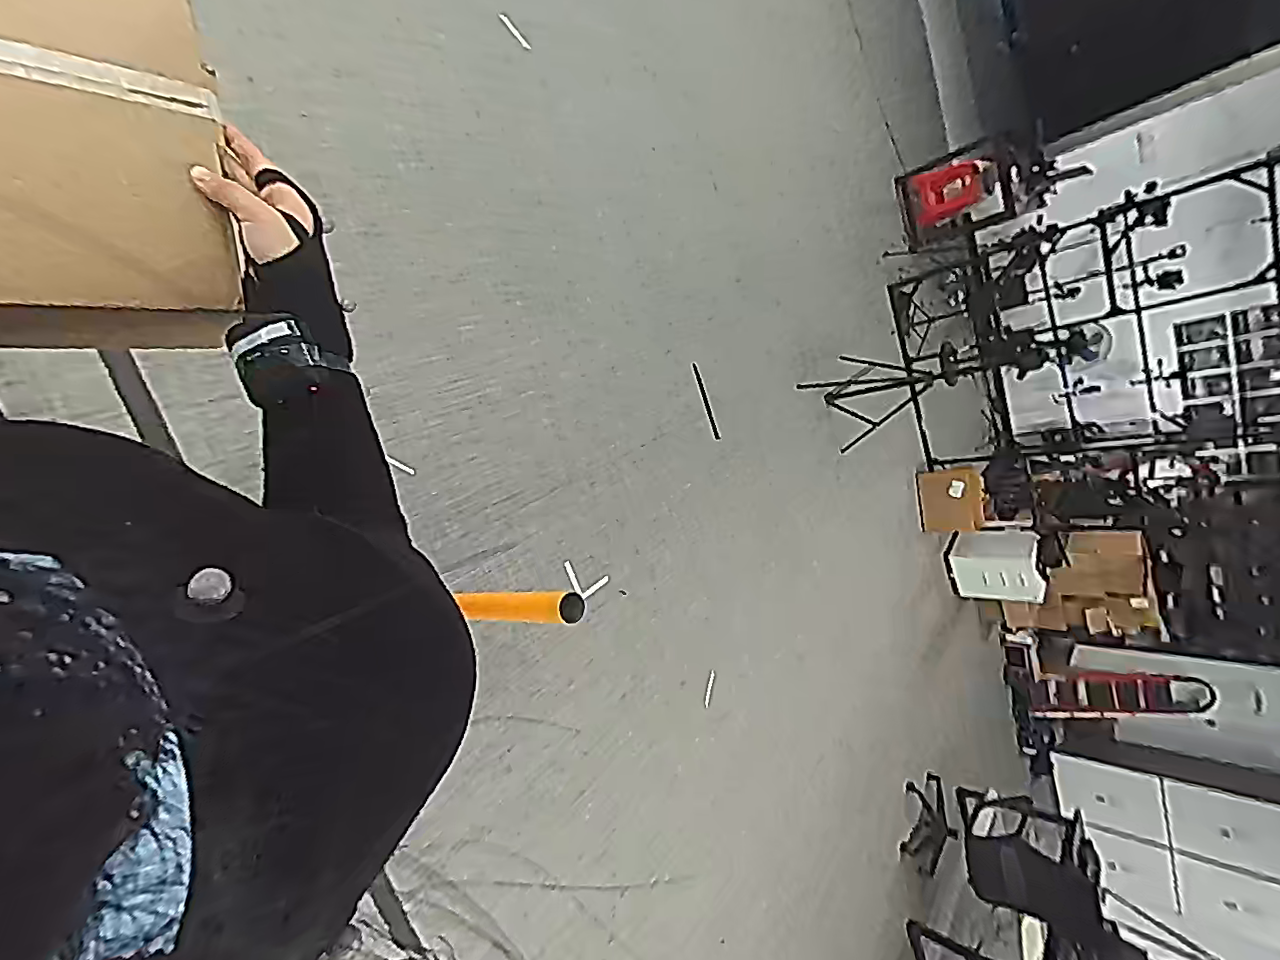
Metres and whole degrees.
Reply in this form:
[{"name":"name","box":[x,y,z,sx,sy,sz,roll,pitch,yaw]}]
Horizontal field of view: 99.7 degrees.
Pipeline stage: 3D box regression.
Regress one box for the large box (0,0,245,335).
[{"name":"large box","box":[-0.594,-0.285,0.424,0.408,0.320,0.320,-12,102,-40]}]
